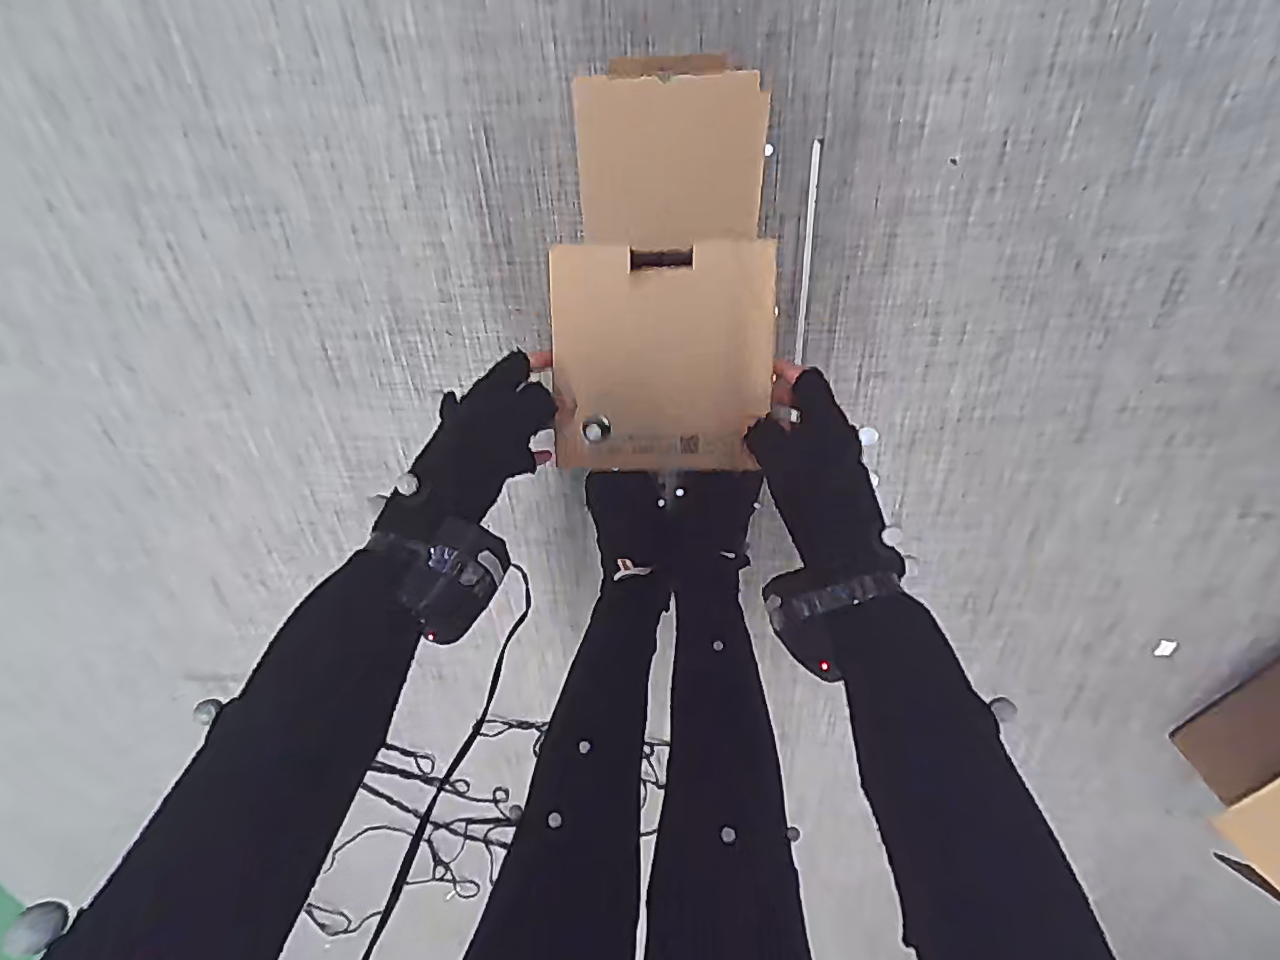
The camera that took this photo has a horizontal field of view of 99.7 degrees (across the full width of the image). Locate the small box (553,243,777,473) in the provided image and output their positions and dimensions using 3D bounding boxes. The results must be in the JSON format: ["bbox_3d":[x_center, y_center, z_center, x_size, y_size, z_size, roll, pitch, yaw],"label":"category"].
[{"bbox_3d":[0.026,-0.102,0.483,0.168,0.179,0.176,0,102,4],"label":"small box"}]
